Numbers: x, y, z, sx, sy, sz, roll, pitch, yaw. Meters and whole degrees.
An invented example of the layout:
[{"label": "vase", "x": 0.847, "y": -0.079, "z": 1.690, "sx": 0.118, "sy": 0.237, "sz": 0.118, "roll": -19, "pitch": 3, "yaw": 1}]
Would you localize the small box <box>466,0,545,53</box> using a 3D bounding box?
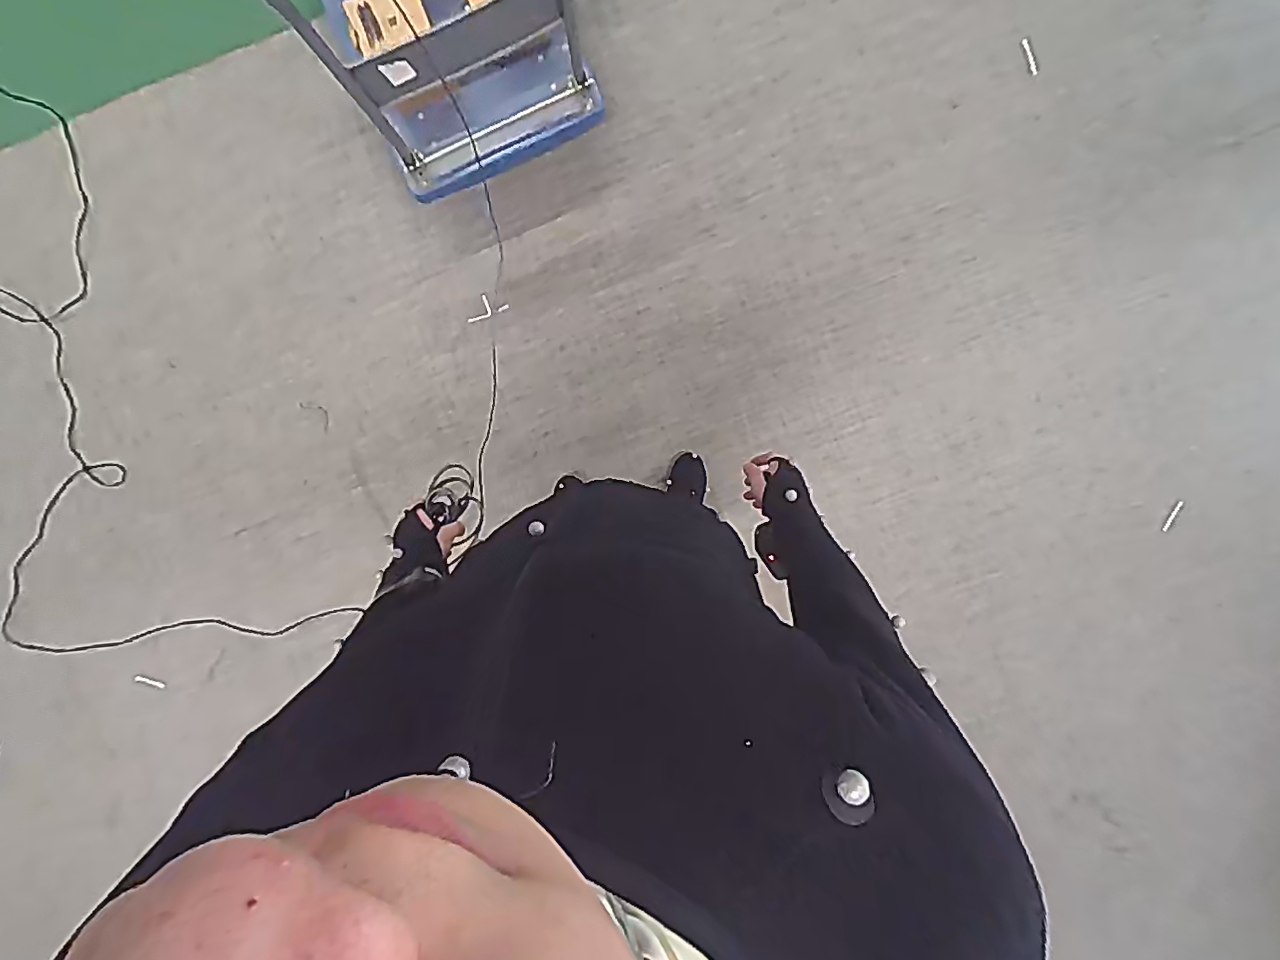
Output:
[{"label": "small box", "x": -0.349, "y": -1.208, "z": 1.318, "sx": 0.168, "sy": 0.176, "sz": 0.179, "roll": -23, "pitch": 94, "yaw": 2}]
